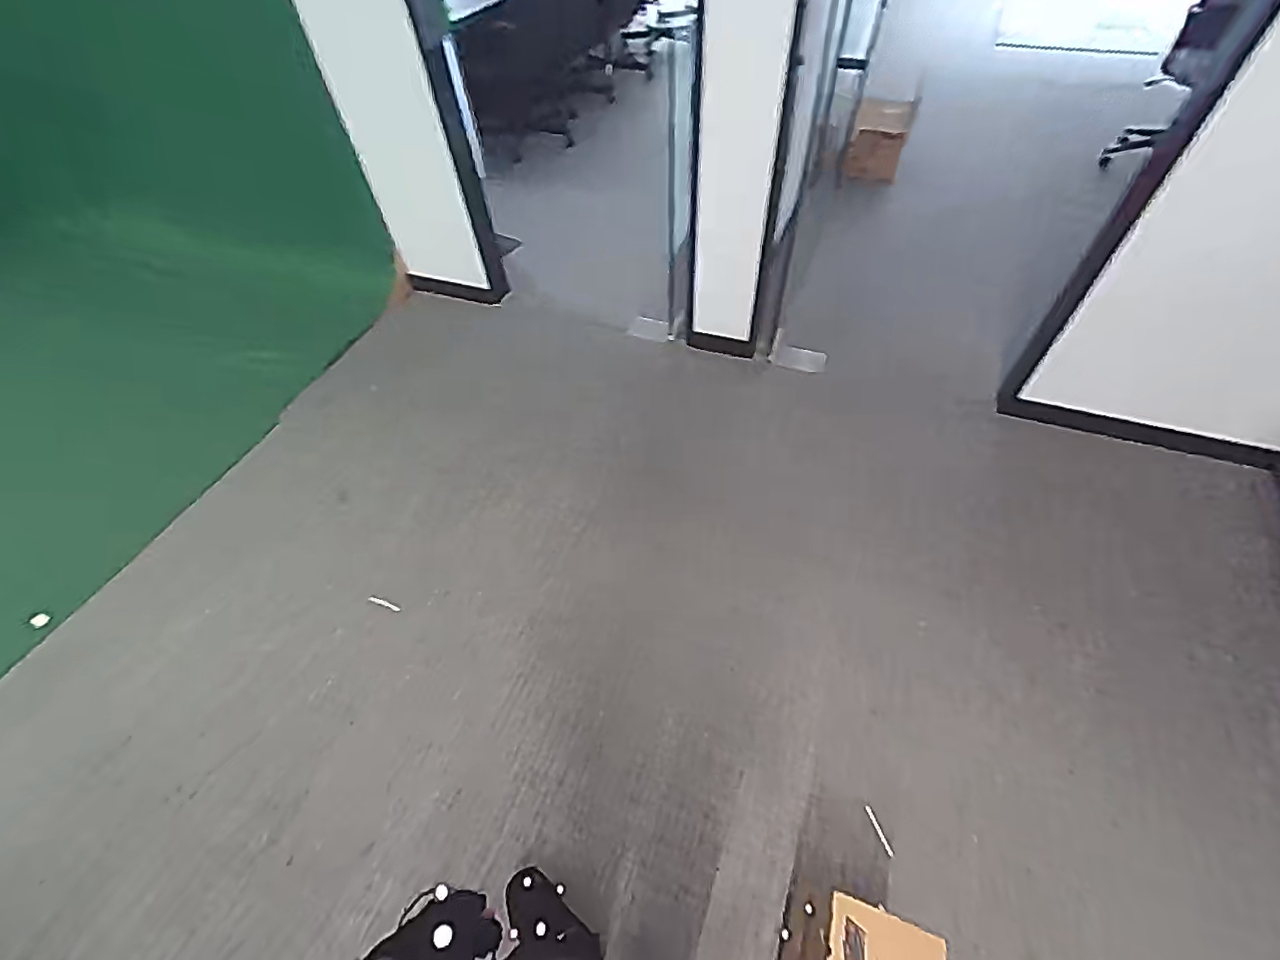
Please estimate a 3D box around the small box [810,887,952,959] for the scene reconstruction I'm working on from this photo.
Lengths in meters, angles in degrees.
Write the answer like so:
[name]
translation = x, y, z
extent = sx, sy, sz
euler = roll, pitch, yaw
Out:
[small box]
translation = 0.383, 0.805, 0.886
extent = 0.179, 0.176, 0.168
euler = 16, 55, 15
